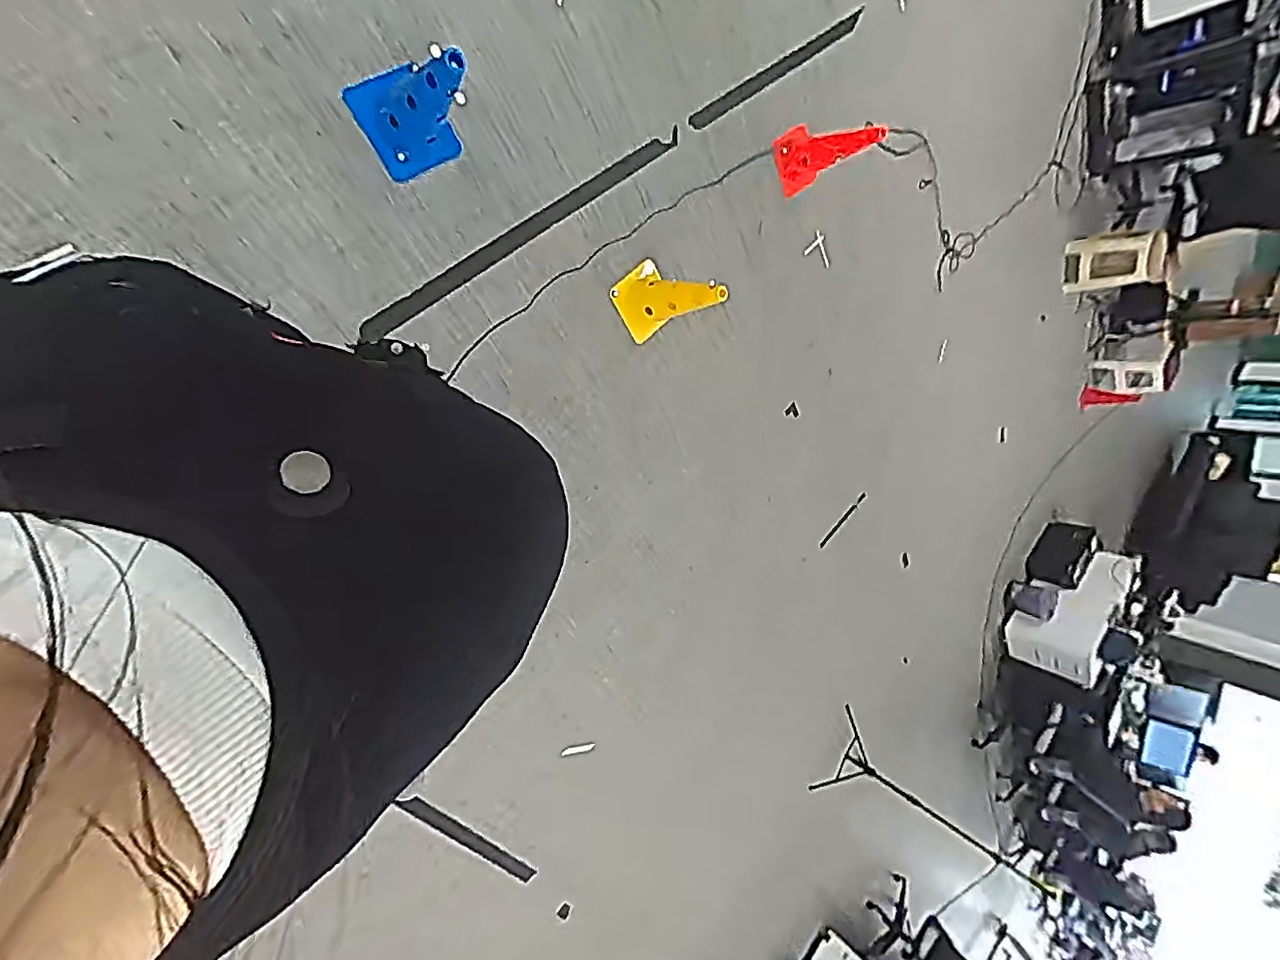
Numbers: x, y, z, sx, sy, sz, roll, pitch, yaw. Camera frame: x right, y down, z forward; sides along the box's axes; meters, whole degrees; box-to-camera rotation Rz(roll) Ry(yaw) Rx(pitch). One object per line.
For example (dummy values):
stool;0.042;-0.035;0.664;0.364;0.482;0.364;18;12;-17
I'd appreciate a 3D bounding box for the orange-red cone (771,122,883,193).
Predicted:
orange-red cone;0.665;-1.155;1.864;0.198;0.360;0.199;-39;123;-22

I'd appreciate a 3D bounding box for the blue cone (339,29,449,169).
blue cone;-0.461;-0.805;1.109;0.193;0.380;0.192;-41;121;-23
